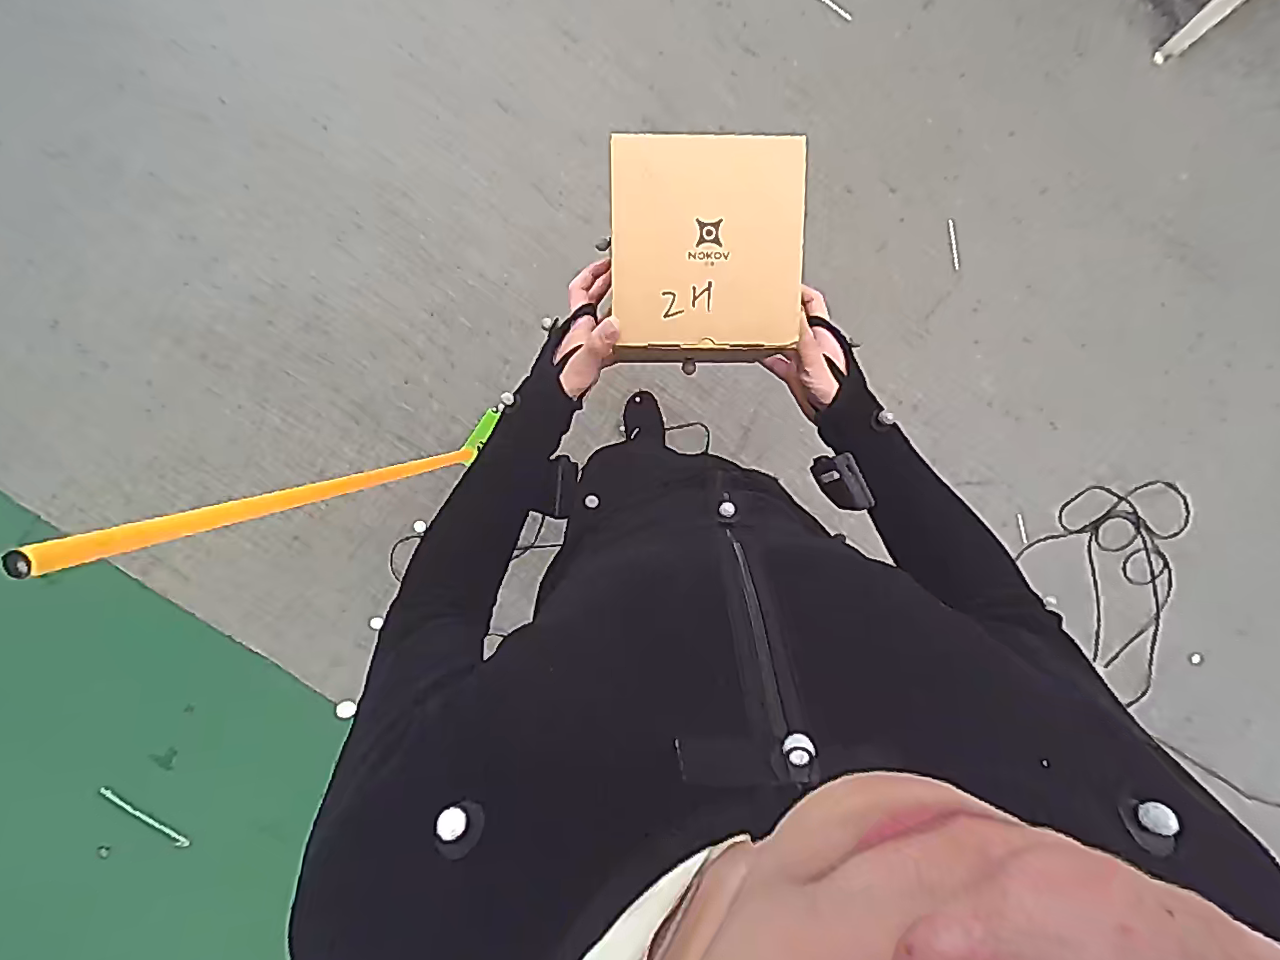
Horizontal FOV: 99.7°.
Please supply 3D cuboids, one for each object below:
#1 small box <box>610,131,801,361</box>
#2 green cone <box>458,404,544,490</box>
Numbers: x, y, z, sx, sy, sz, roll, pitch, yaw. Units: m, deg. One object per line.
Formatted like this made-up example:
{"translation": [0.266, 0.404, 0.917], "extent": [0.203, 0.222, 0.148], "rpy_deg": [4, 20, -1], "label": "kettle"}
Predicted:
{"translation": [0.053, -0.219, 0.550], "extent": [0.168, 0.176, 0.179], "rpy_deg": [1, 98, -1], "label": "small box"}
{"translation": [-0.407, -0.079, 1.433], "extent": [0.202, 0.368, 0.200], "rpy_deg": [35, 94, -5], "label": "green cone"}
